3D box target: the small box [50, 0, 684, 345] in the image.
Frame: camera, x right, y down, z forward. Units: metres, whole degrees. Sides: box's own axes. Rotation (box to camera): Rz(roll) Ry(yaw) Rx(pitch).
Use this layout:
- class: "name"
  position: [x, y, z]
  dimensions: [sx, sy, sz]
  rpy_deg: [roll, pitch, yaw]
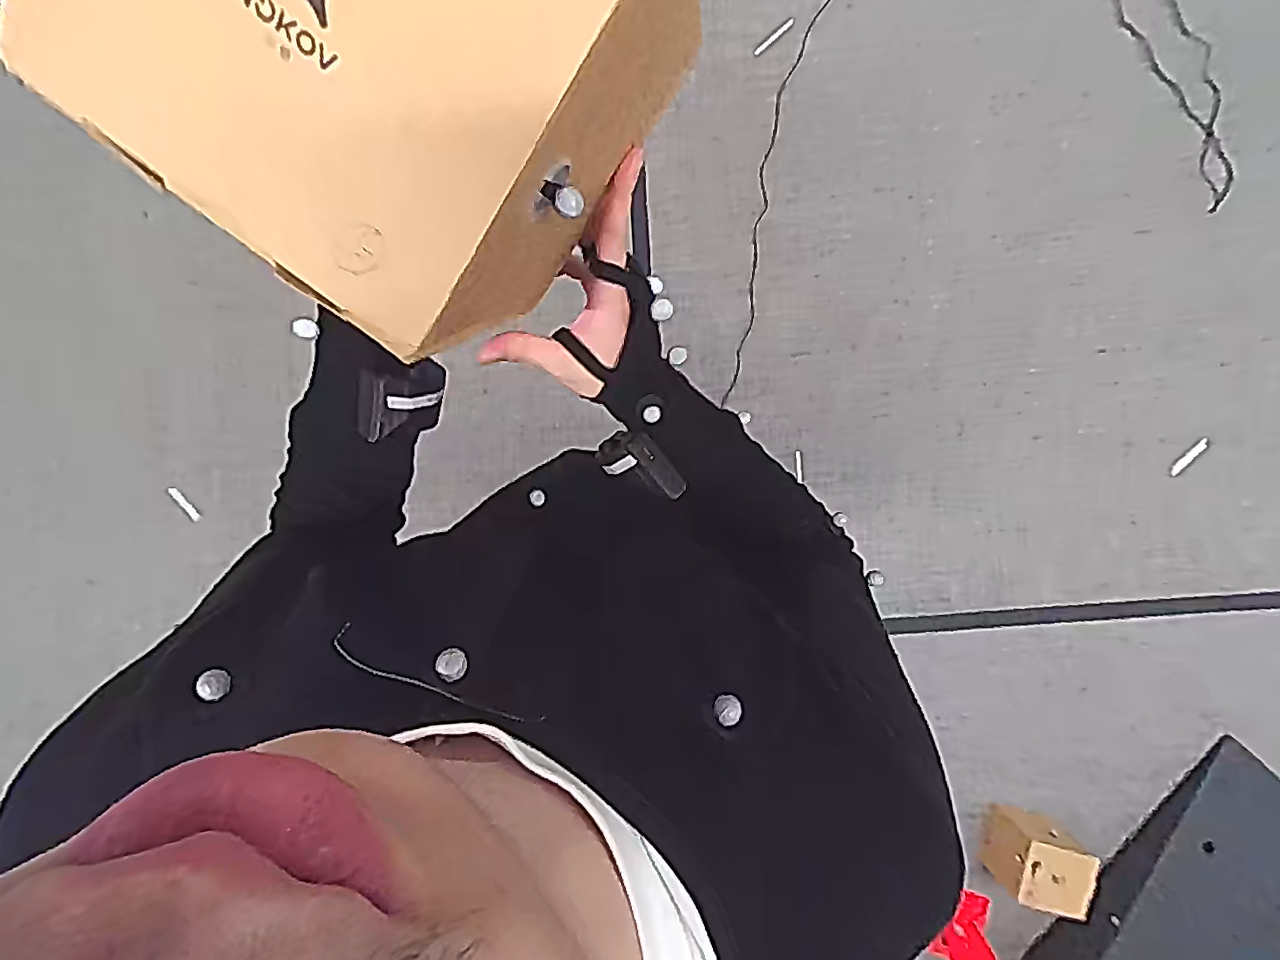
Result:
- class: "small box"
  position: [-0.090, -0.194, 0.248]
  dimensions: [0.168, 0.176, 0.179]
  rpy_deg: [36, 114, -10]
